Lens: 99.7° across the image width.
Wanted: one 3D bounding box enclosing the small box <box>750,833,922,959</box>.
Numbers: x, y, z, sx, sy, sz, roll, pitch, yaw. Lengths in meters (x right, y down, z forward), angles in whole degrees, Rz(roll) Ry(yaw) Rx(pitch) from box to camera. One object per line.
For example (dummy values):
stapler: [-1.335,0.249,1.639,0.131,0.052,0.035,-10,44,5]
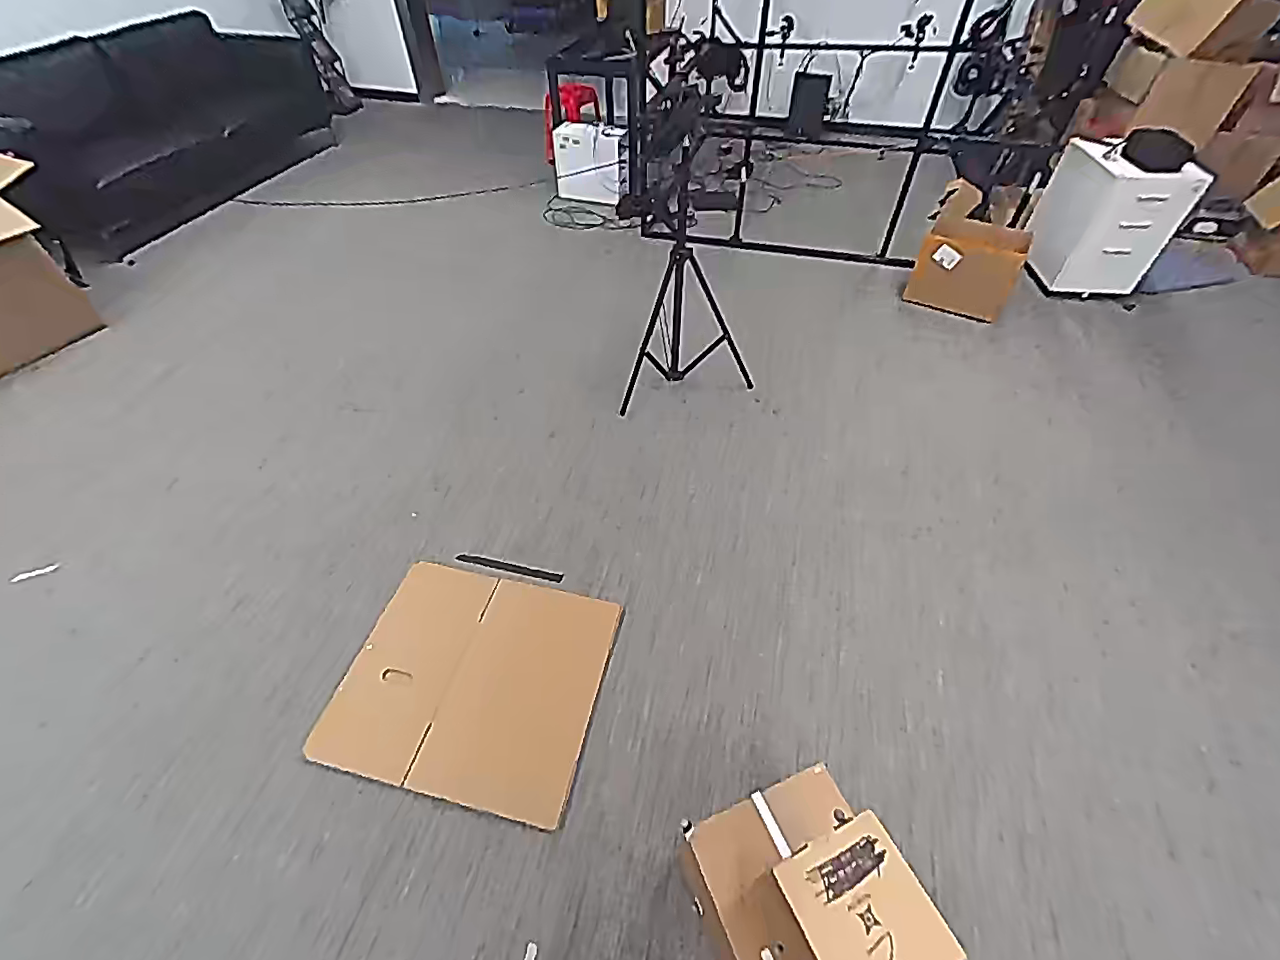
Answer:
small box: [0.291,0.700,0.852,0.168,0.176,0.179,-20,52,-16]
